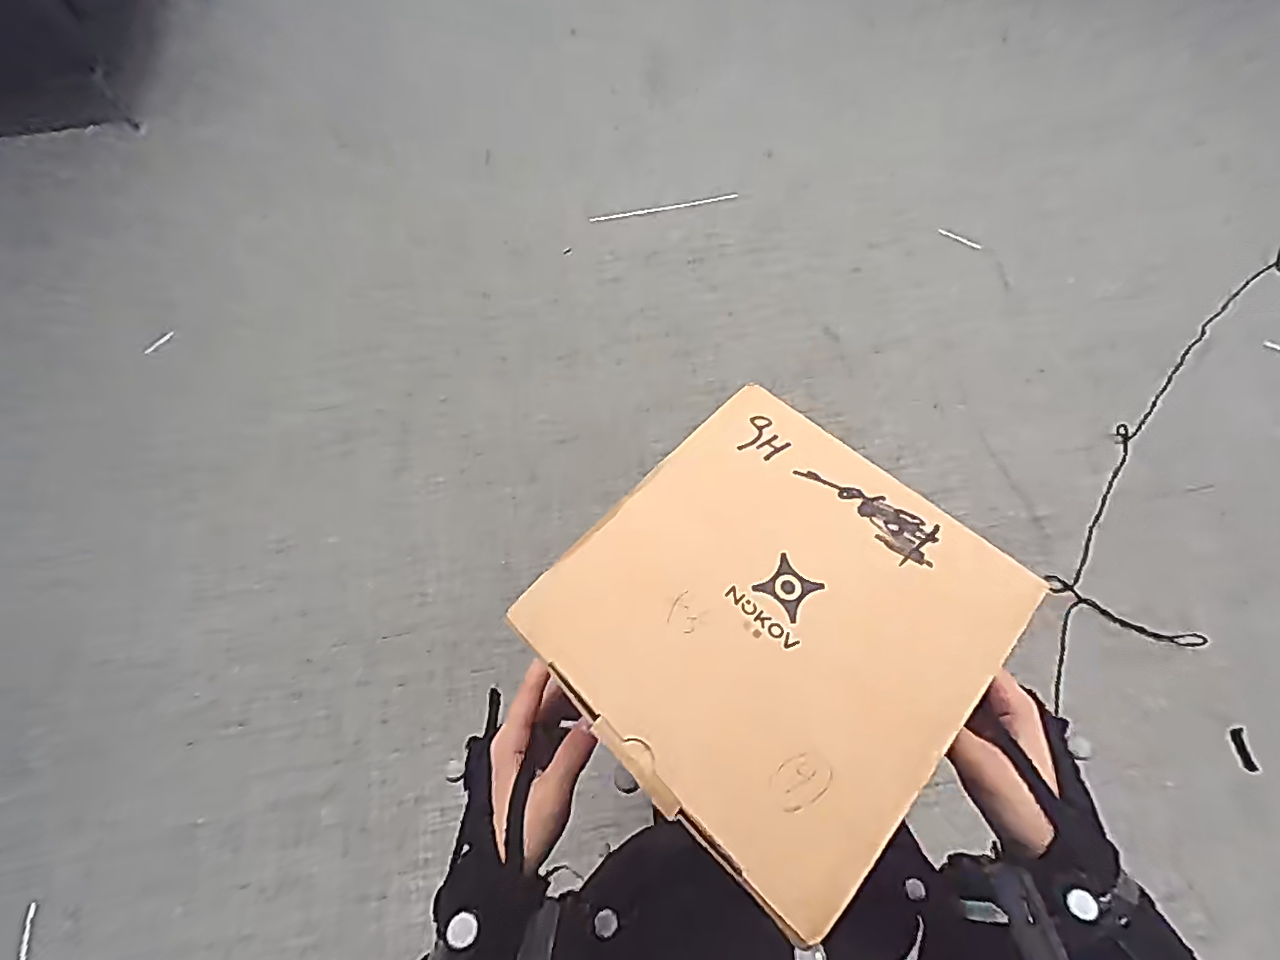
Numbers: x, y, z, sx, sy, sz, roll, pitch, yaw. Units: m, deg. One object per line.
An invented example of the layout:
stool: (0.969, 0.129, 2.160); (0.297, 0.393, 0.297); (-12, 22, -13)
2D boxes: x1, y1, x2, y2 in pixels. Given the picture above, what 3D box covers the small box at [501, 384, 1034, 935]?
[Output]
small box: (0.059, 0.089, 0.306); (0.168, 0.176, 0.179); (40, 72, 21)
